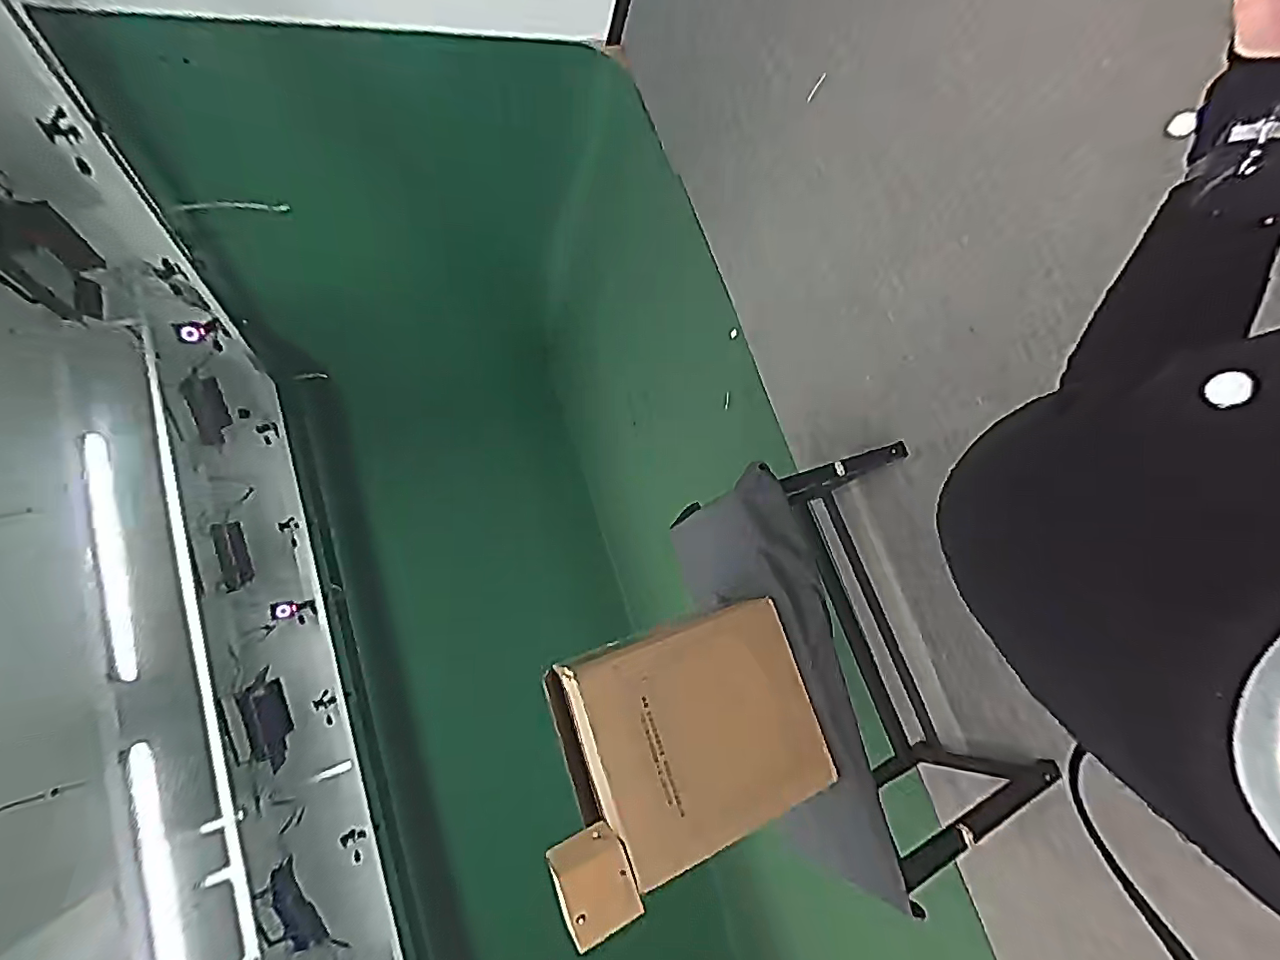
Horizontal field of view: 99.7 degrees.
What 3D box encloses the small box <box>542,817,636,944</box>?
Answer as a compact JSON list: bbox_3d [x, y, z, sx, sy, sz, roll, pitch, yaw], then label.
[{"bbox_3d":[-0.127,0.978,1.342,0.168,0.176,0.179,69,157,7],"label":"small box"}]
